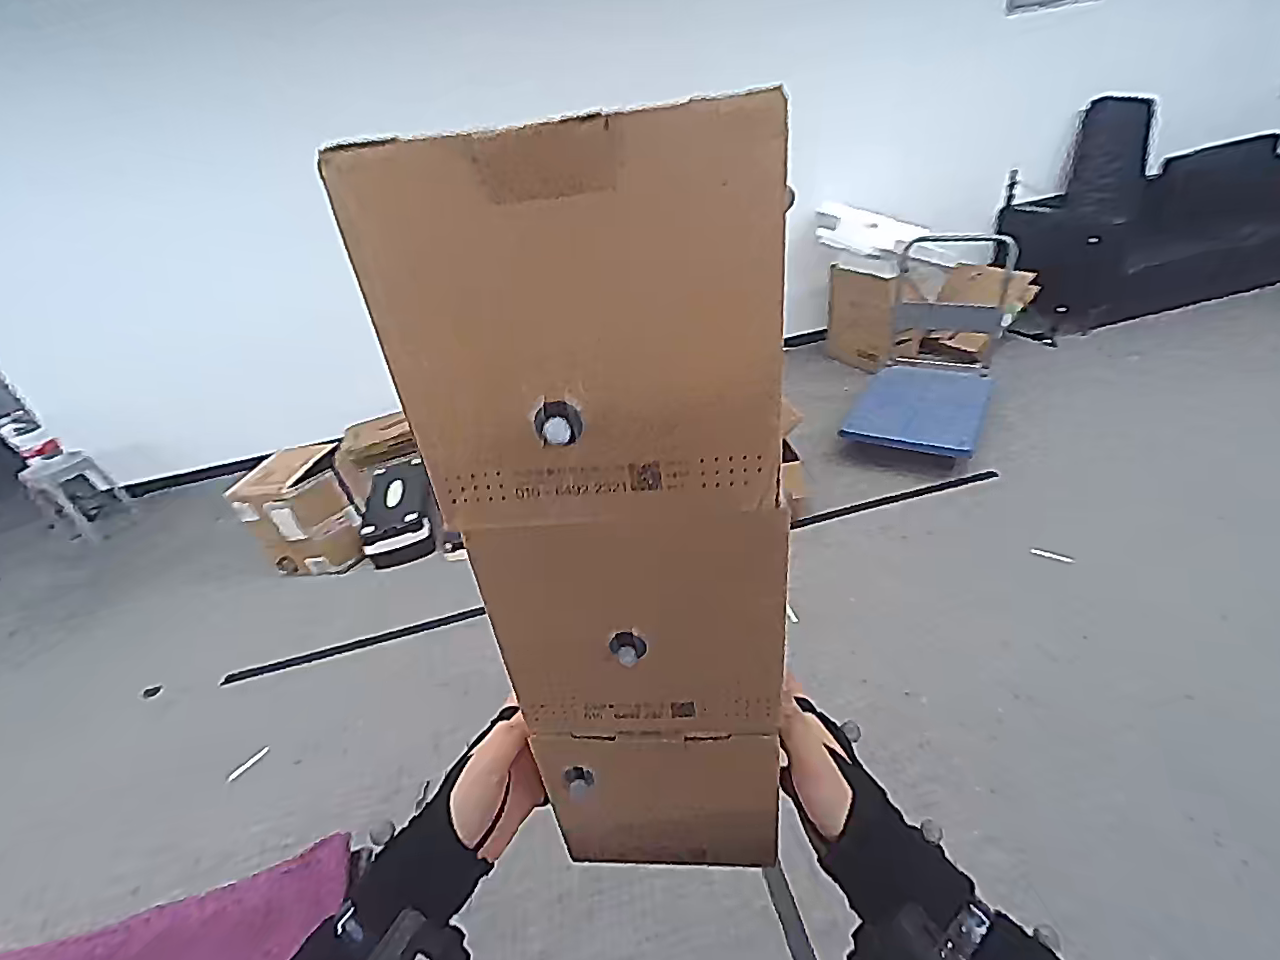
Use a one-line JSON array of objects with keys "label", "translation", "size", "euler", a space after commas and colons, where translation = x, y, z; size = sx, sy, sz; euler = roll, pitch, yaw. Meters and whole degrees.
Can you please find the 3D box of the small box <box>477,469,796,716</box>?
[{"label": "small box", "translation": [0.012, 0.042, 0.376], "size": [0.168, 0.176, 0.179], "euler": [-3, 30, 6]}]
